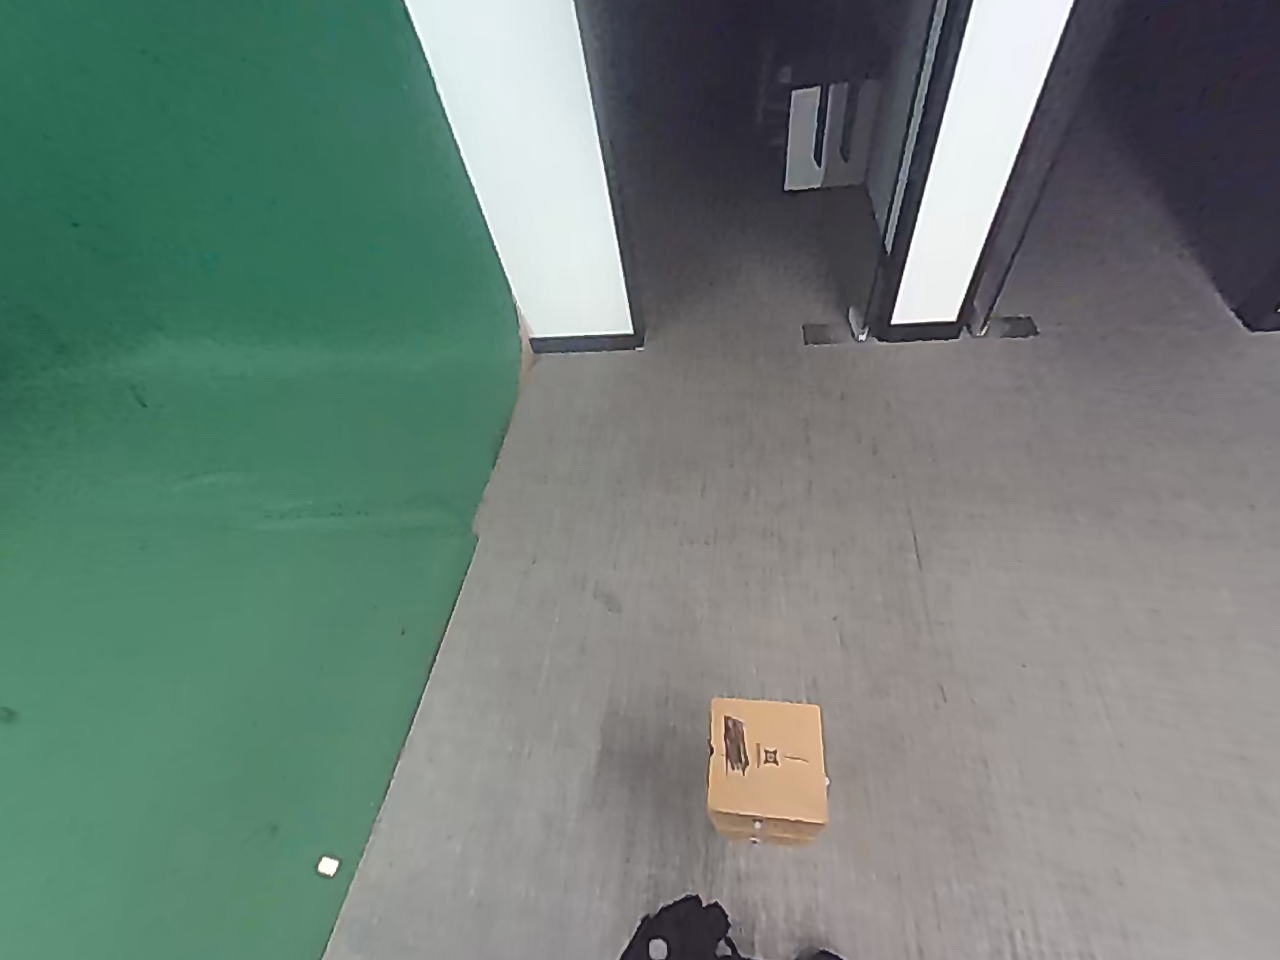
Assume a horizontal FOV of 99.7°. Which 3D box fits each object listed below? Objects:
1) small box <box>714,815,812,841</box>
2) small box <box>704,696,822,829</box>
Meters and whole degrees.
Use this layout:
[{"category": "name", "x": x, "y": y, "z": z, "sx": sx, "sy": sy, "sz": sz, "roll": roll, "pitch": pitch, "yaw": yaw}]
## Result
[{"category": "small box", "x": 0.230, "y": 0.569, "z": 1.028, "sx": 0.168, "sy": 0.176, "sz": 0.179, "roll": -1, "pitch": 53, "yaw": 12}, {"category": "small box", "x": 0.206, "y": 0.479, "z": 0.913, "sx": 0.179, "sy": 0.176, "sz": 0.168, "roll": 0, "pitch": 53, "yaw": 12}]
